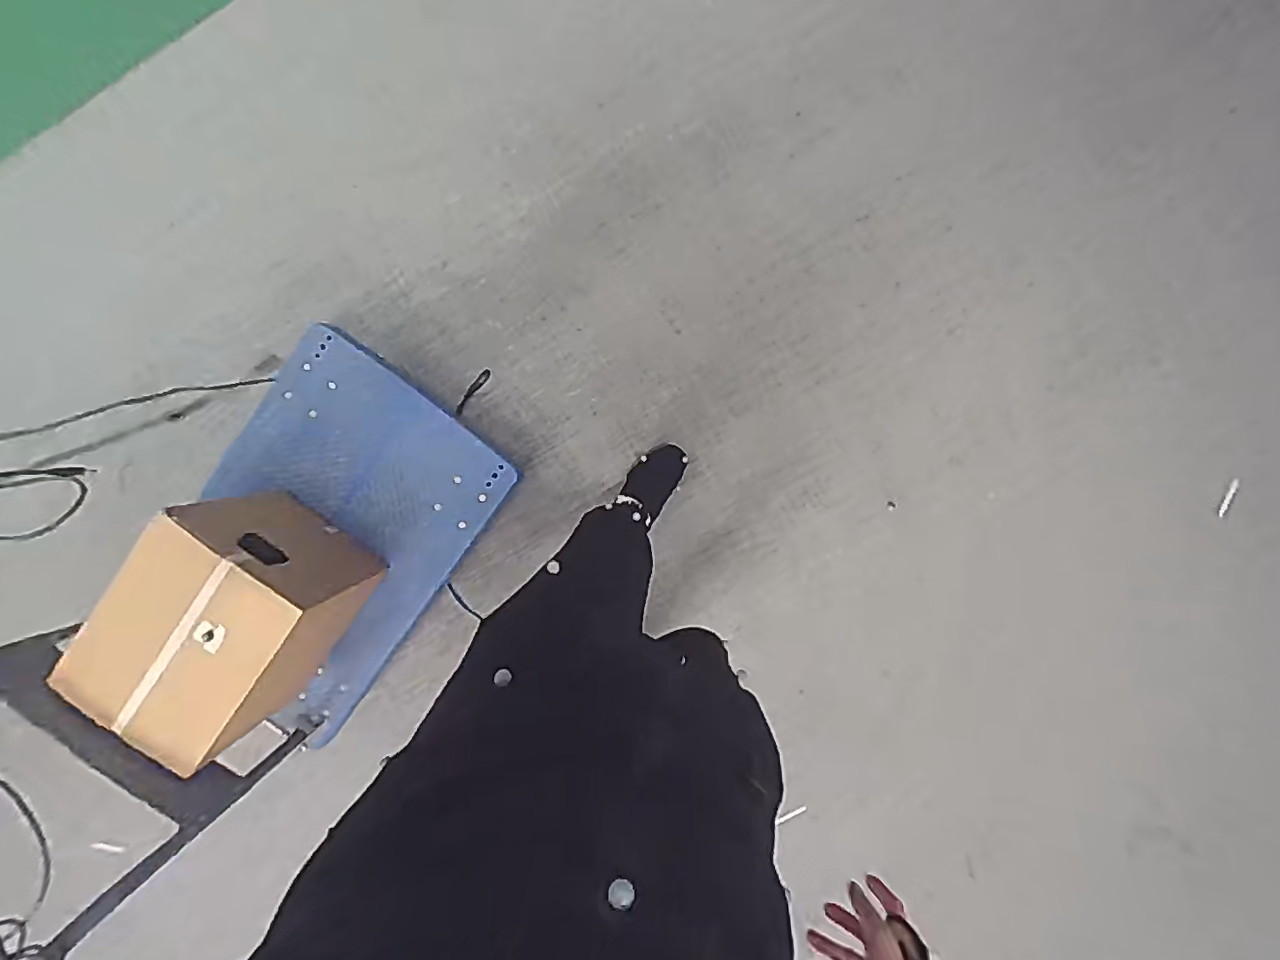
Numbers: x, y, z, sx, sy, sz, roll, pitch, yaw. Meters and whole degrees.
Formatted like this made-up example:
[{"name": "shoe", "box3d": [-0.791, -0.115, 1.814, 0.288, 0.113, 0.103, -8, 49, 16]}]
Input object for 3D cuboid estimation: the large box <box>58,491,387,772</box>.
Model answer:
[{"name": "large box", "box3d": [-0.822, 0.280, 1.118, 0.320, 0.320, 0.408, 37, 94, -2]}]
